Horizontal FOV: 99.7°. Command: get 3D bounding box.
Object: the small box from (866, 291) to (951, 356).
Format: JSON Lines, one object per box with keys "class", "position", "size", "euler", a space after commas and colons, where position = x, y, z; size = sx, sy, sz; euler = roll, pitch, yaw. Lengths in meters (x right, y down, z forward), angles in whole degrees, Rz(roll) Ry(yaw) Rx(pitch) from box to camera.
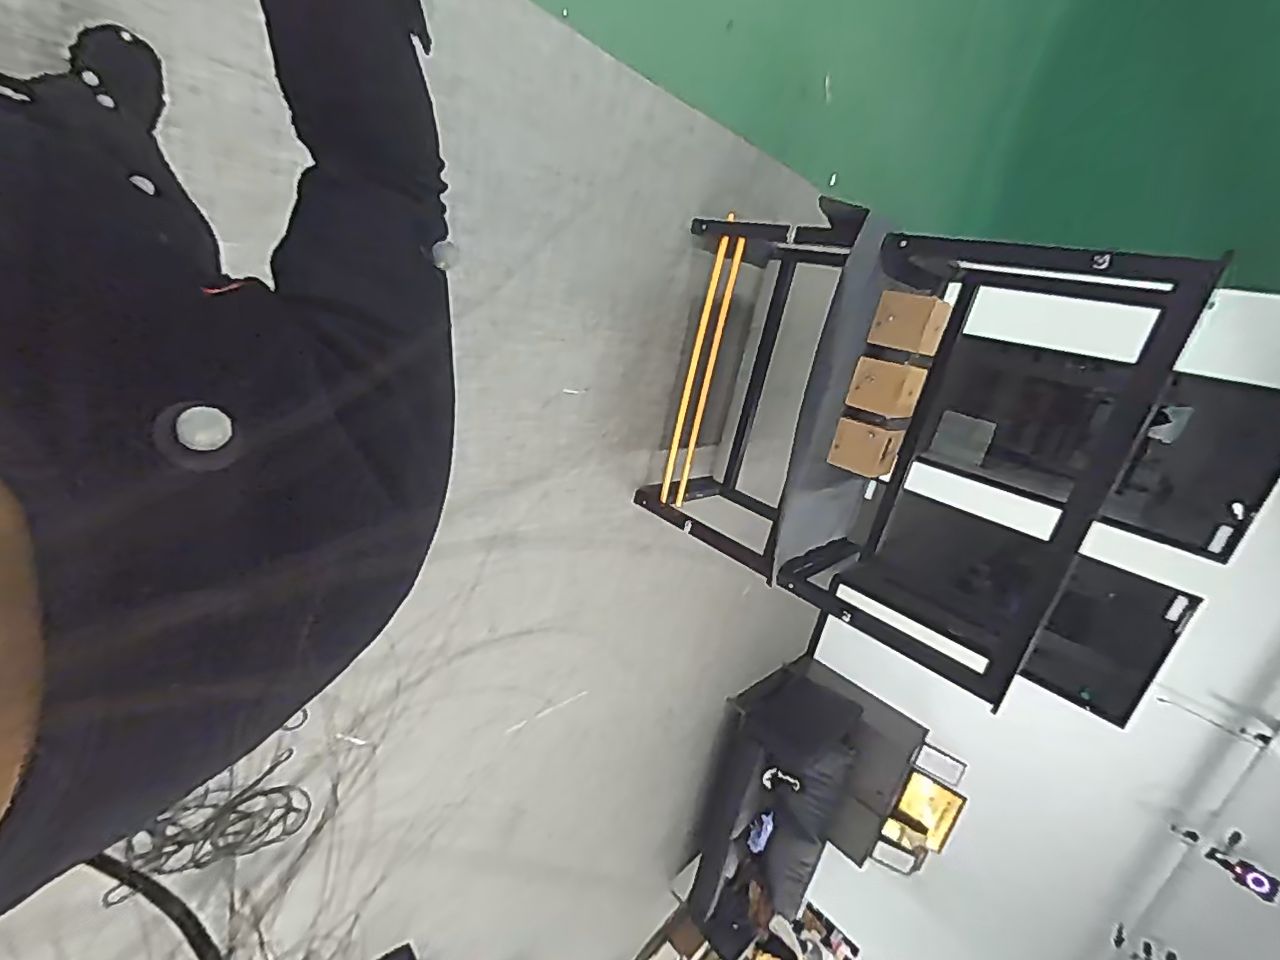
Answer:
{"class": "small box", "position": [0.862, -0.504, 1.741], "size": [0.179, 0.176, 0.168], "euler": [-9, 118, -46]}
